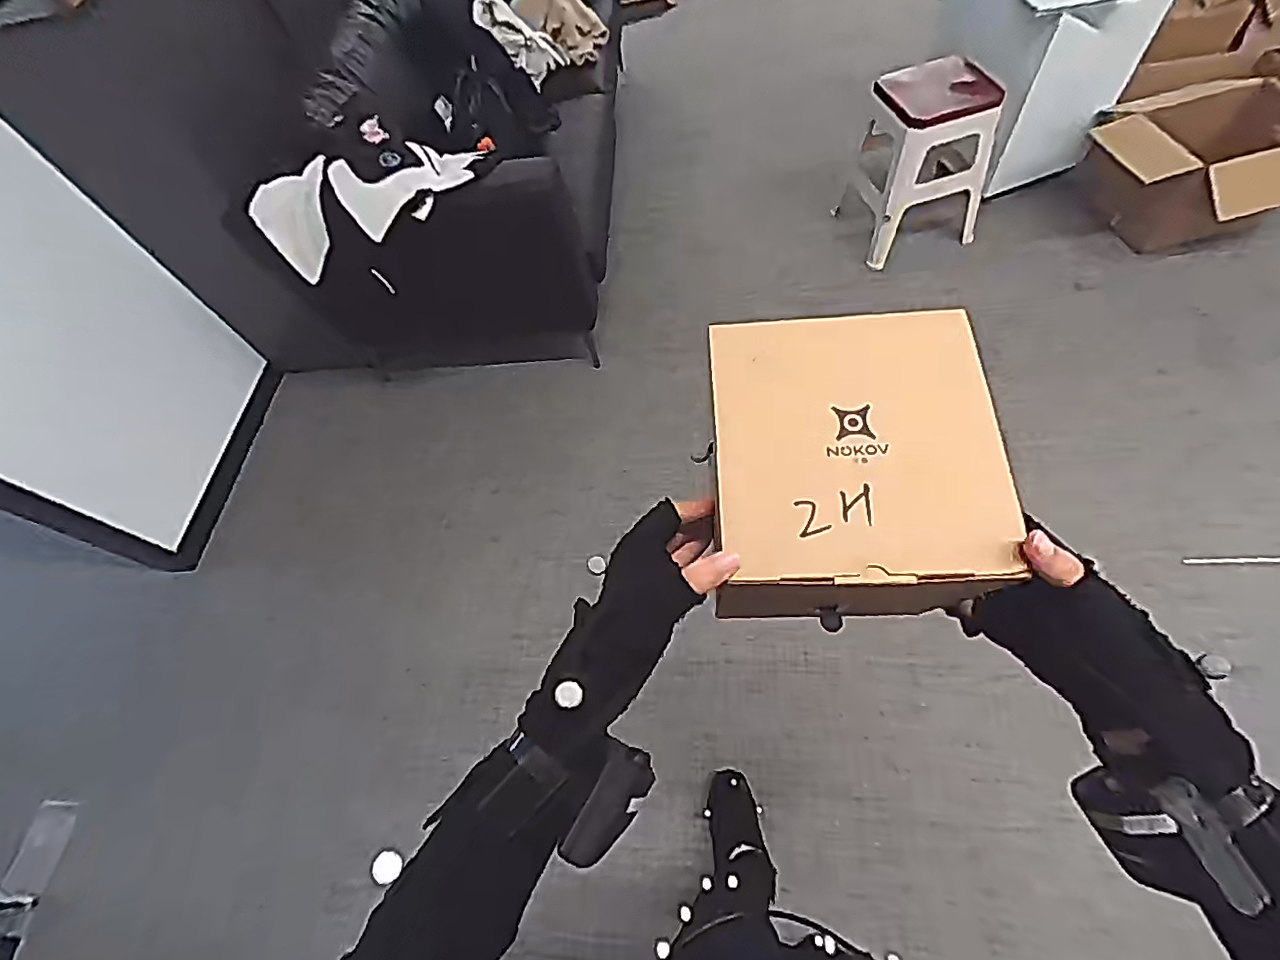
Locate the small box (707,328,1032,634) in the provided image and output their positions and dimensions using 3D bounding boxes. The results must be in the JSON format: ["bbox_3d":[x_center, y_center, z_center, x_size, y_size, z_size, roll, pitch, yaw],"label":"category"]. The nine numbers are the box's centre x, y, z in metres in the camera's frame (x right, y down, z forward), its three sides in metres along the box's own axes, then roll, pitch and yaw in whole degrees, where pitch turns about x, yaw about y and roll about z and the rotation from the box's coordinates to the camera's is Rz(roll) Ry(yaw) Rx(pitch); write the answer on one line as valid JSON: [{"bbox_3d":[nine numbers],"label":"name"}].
[{"bbox_3d":[0.136,0.012,0.399,0.168,0.176,0.179,-2,68,6],"label":"small box"}]
